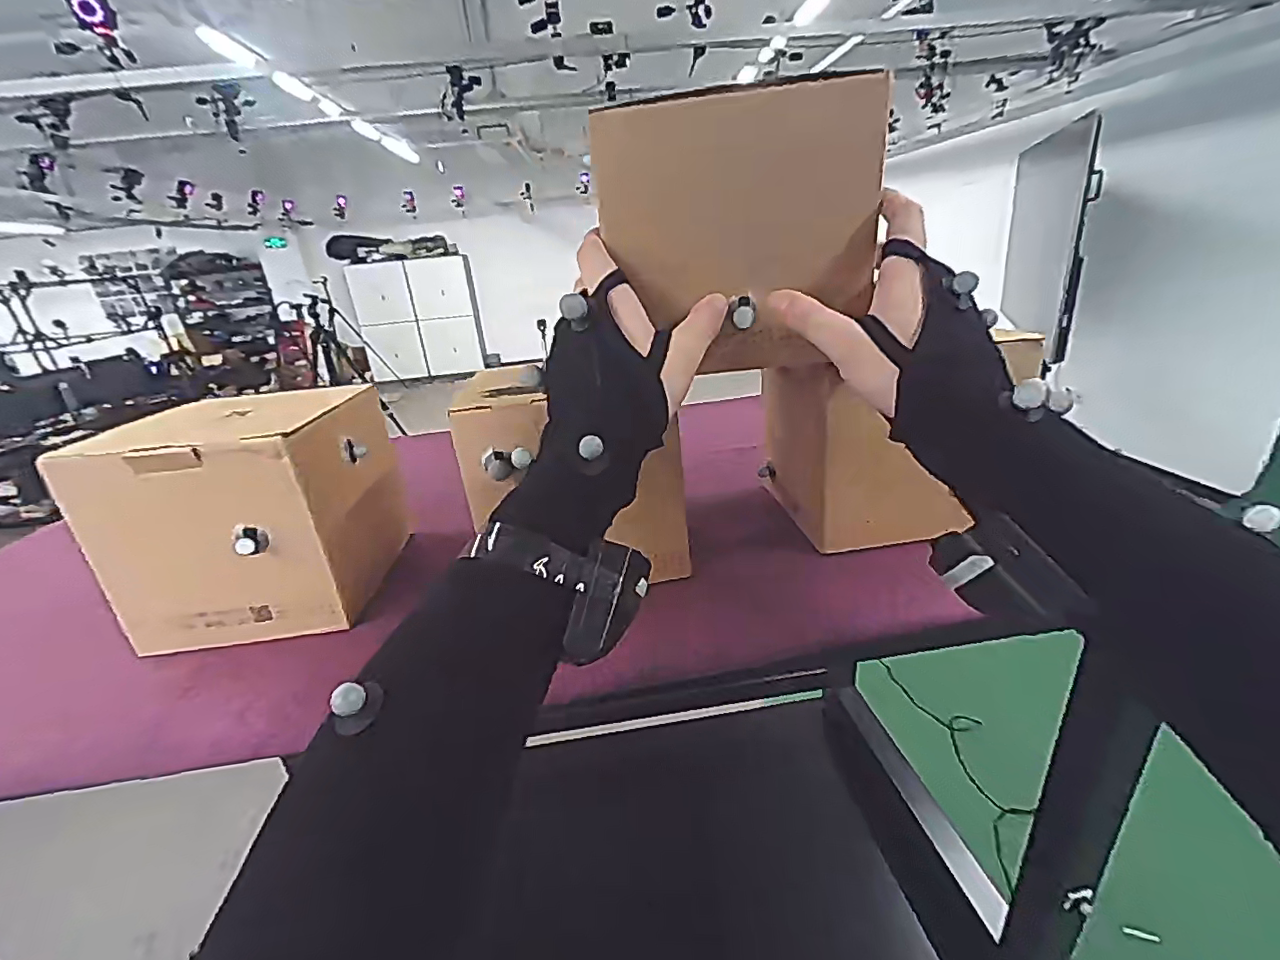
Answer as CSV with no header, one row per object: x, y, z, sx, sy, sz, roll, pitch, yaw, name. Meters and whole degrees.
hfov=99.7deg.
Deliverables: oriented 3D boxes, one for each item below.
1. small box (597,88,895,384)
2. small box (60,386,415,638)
0.069,-0.184,0.420,0.179,0.176,0.168,-5,29,3,small box
-0.319,0.024,0.481,0.168,0.176,0.179,-6,22,-3,small box
